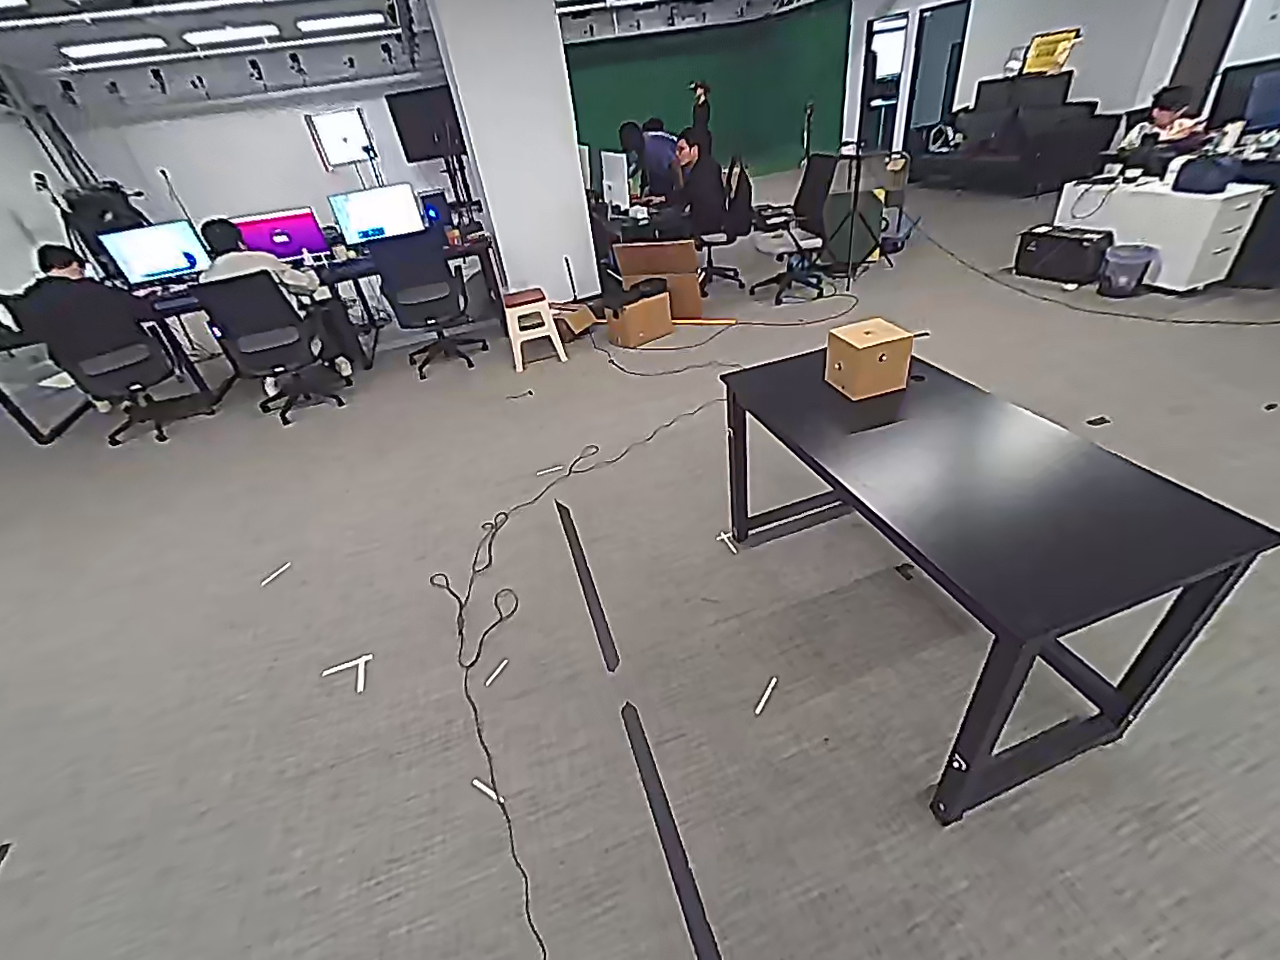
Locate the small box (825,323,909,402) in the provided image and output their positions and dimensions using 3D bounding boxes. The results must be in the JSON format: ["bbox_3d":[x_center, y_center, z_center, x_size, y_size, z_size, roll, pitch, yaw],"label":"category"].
[{"bbox_3d":[0.678,-0.354,1.636,0.179,0.176,0.168,-15,35,-8],"label":"small box"}]
